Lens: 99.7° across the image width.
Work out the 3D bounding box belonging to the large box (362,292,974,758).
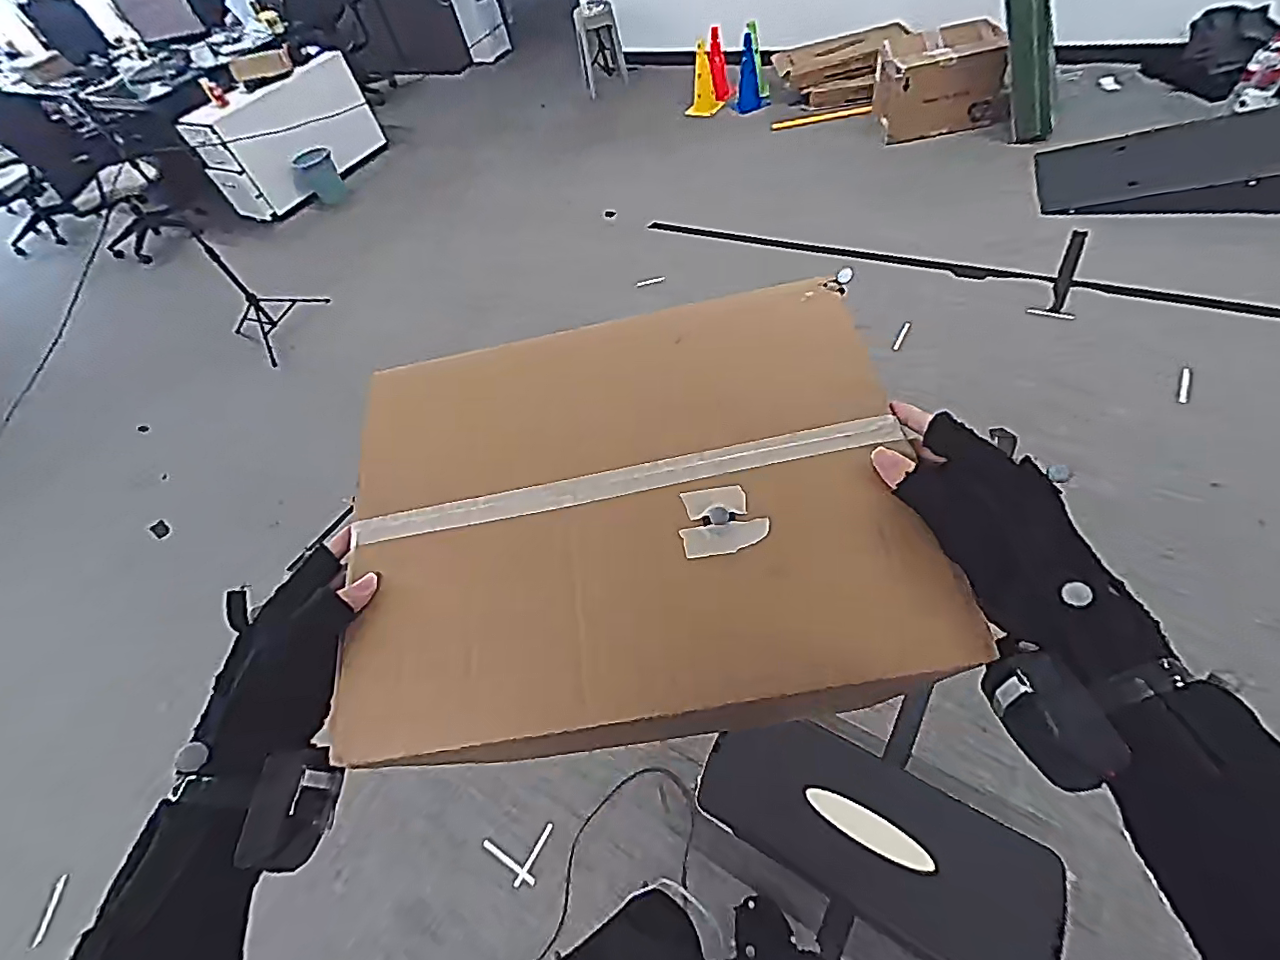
[{"bbox_3d":[0.010,0.075,0.539,0.408,0.320,0.320,-11,63,3],"label":"large box"}]
